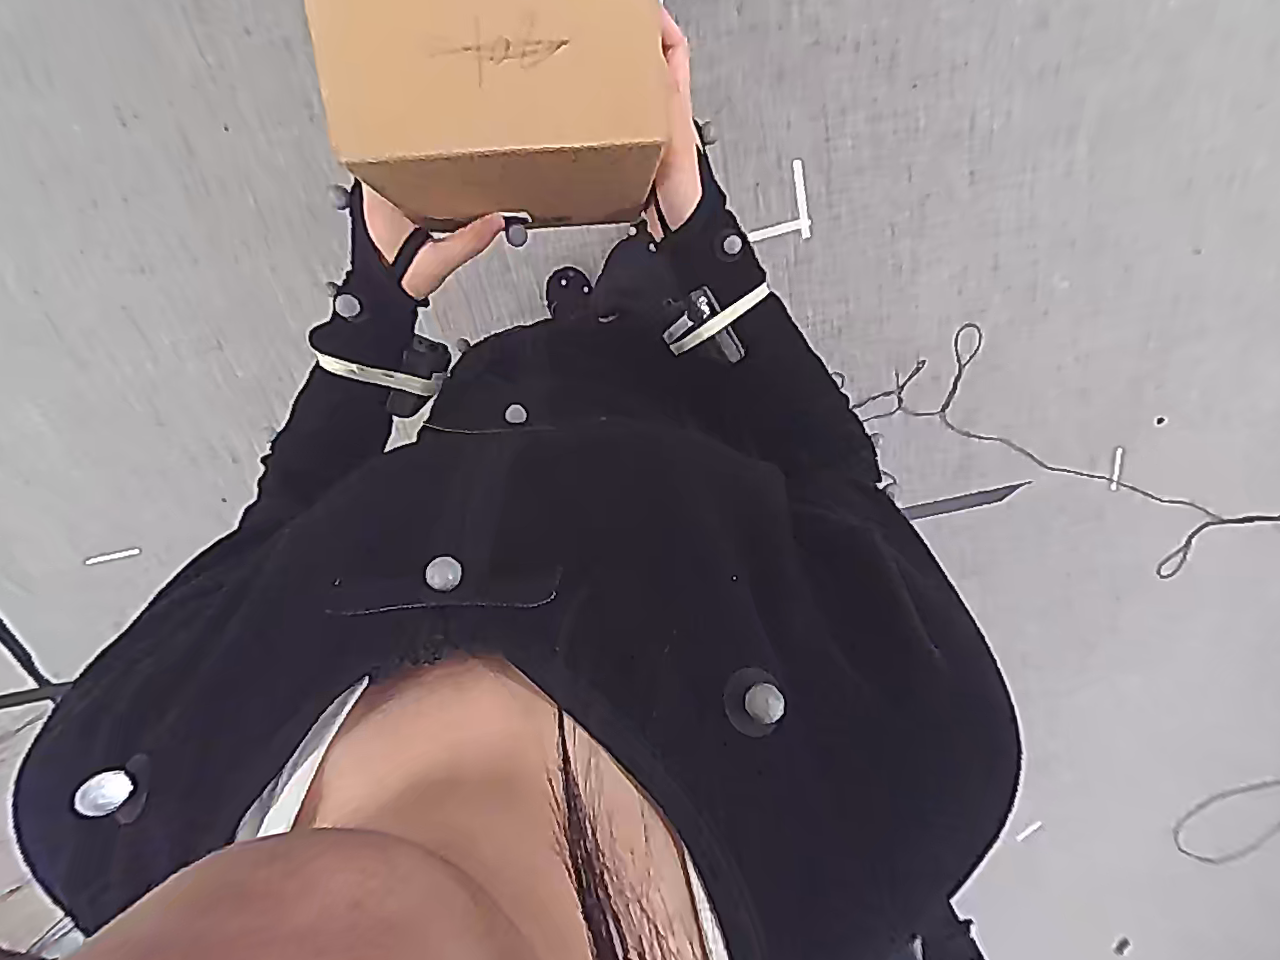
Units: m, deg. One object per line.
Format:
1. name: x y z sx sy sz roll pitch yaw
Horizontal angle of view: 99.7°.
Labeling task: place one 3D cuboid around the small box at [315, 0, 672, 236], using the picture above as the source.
1. small box: -0.078 -0.264 0.328 0.168 0.176 0.179 -6 103 -3
